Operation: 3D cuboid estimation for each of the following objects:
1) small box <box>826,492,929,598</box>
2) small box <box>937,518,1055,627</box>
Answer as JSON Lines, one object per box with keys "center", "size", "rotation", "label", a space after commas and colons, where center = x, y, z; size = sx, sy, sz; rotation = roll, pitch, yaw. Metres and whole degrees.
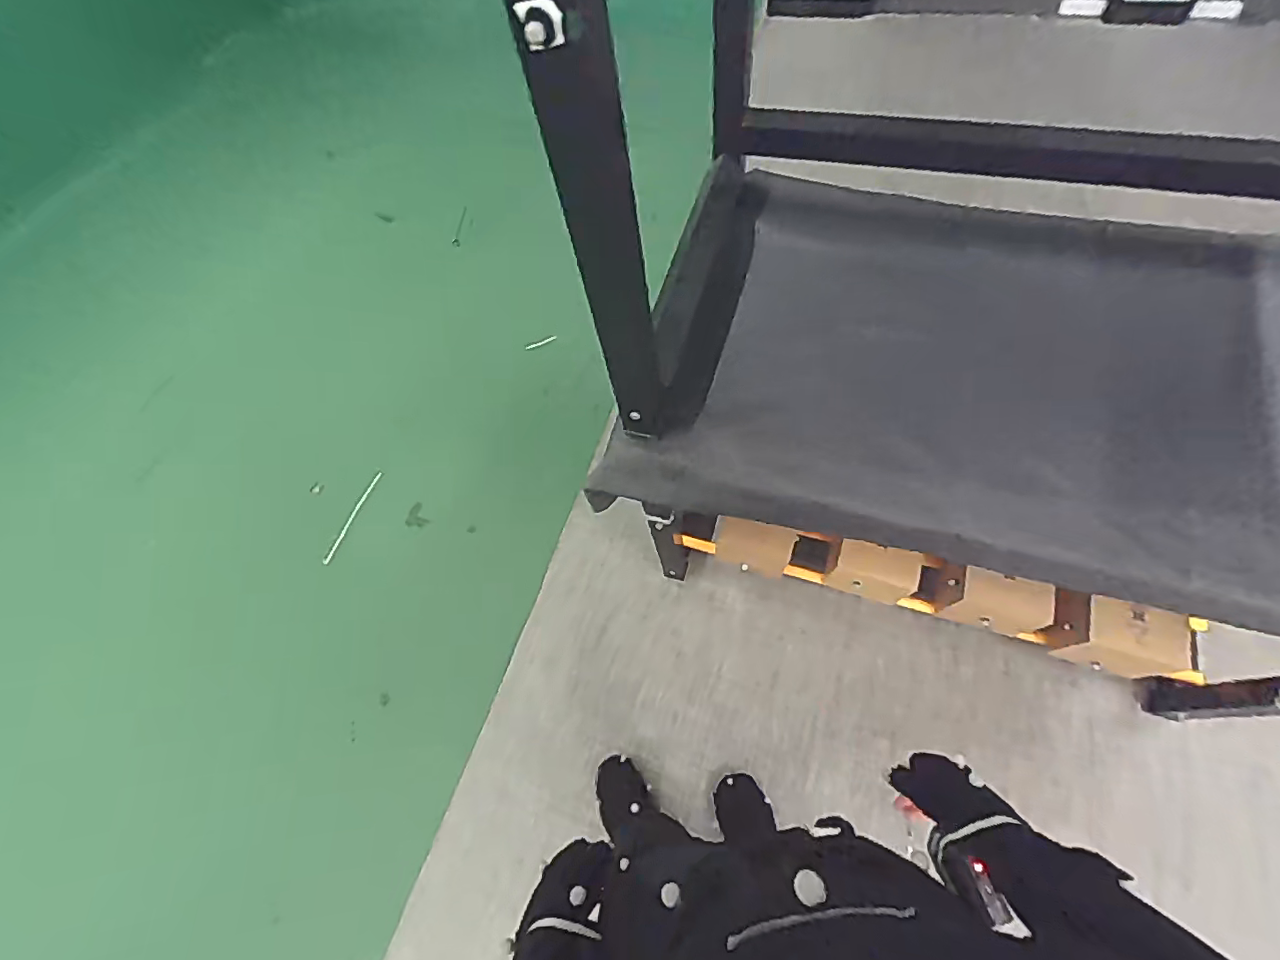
{"center": [0.534, 0.154, 1.236], "size": [0.168, 0.176, 0.179], "rotation": [15, 69, 13], "label": "small box"}
{"center": [0.767, 0.207, 1.179], "size": [0.168, 0.176, 0.179], "rotation": [13, 68, 14], "label": "small box"}
